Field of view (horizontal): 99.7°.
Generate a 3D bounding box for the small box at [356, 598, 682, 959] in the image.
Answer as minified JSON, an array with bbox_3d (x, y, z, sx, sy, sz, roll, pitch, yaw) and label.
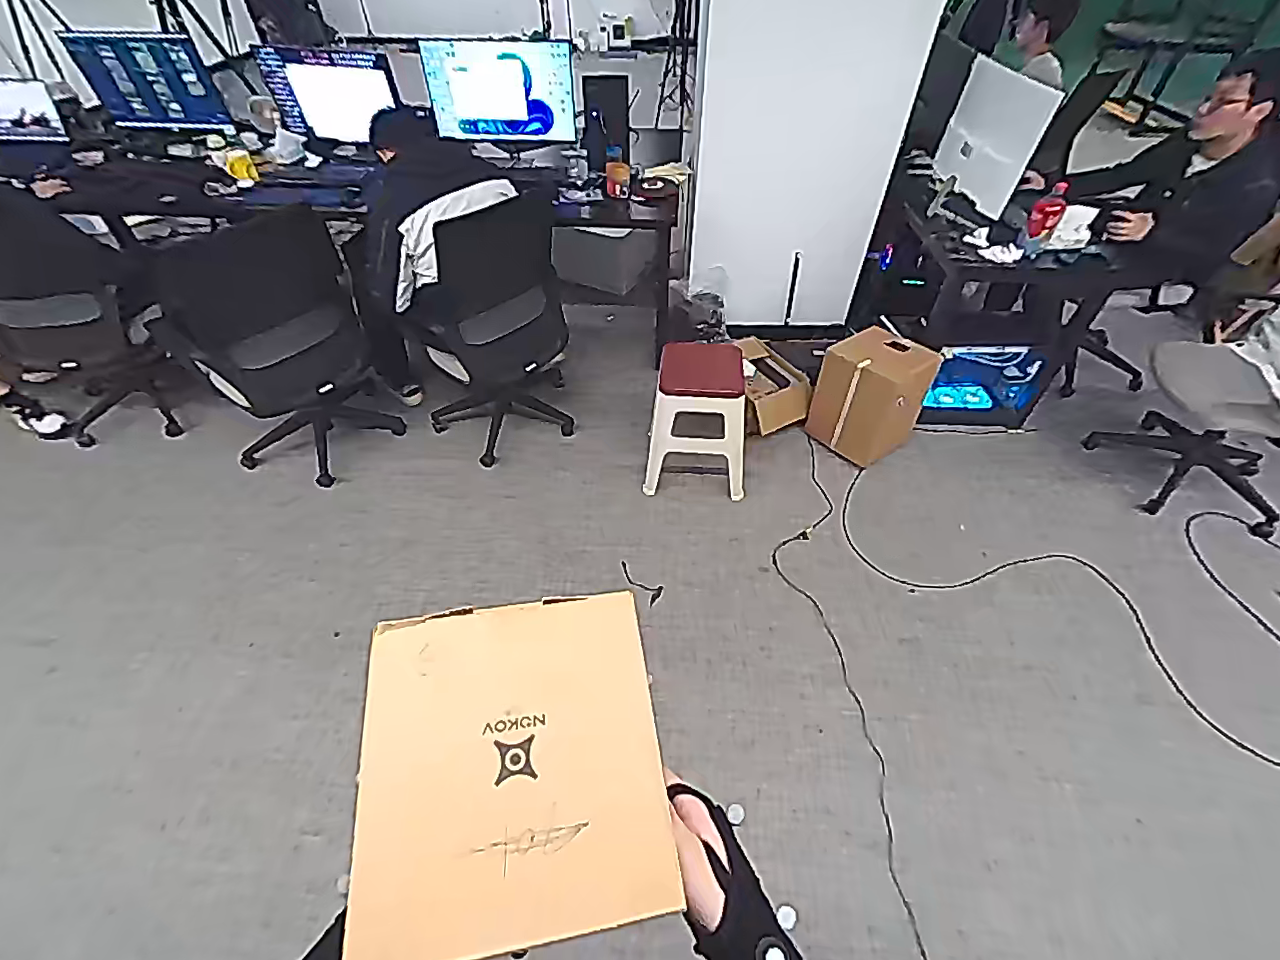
[{"bbox_3d":[-0.078,0.203,0.384,0.168,0.176,0.179,-5,58,-10],"label":"small box"}]
